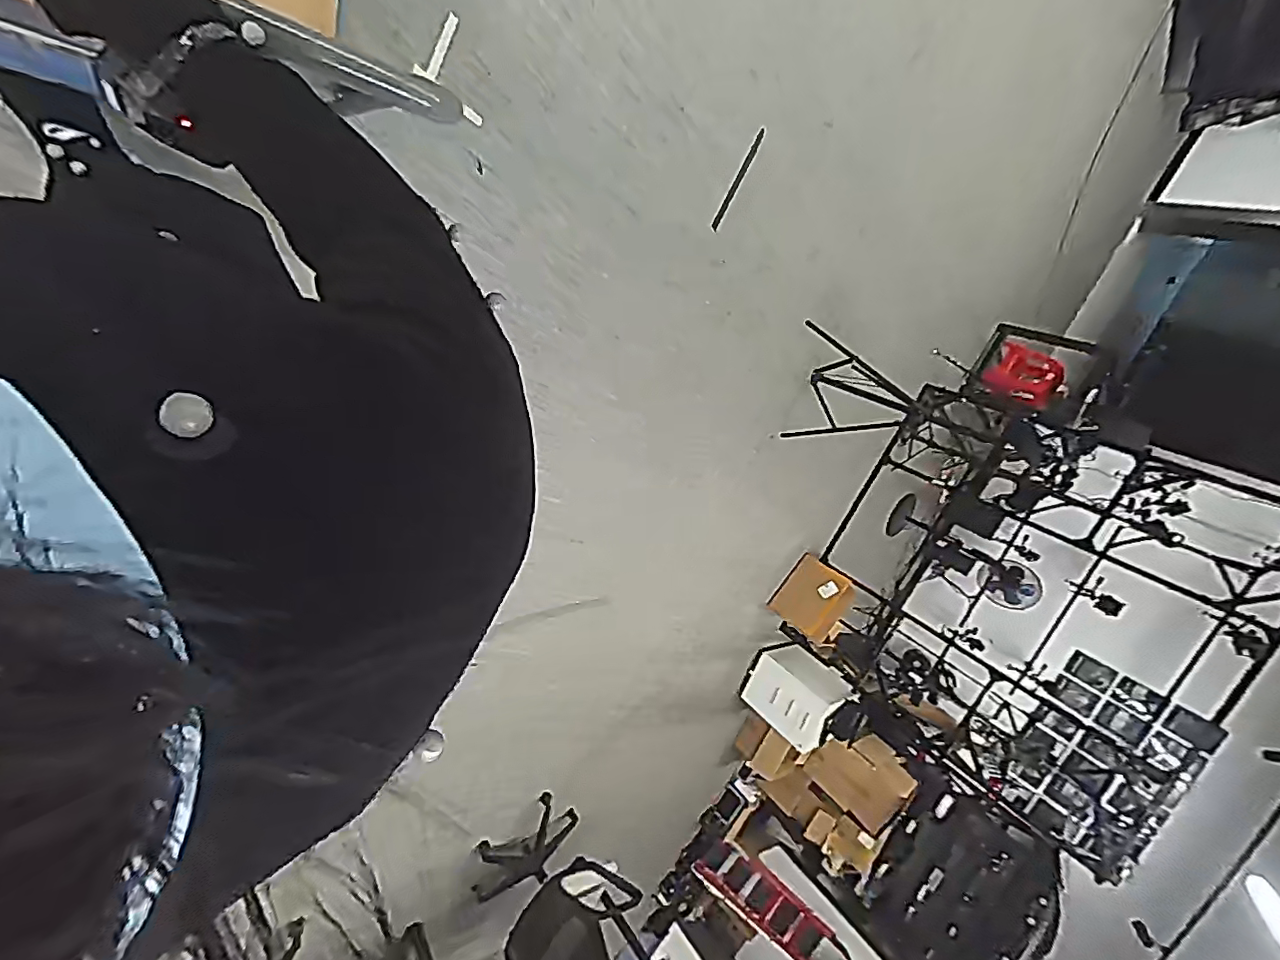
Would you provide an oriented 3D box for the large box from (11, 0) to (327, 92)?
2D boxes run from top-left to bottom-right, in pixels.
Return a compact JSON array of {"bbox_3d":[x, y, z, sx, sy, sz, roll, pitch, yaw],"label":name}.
[{"bbox_3d":[-0.636,-0.728,0.645,0.408,0.320,0.320,-4,118,-44],"label":"large box"}]
